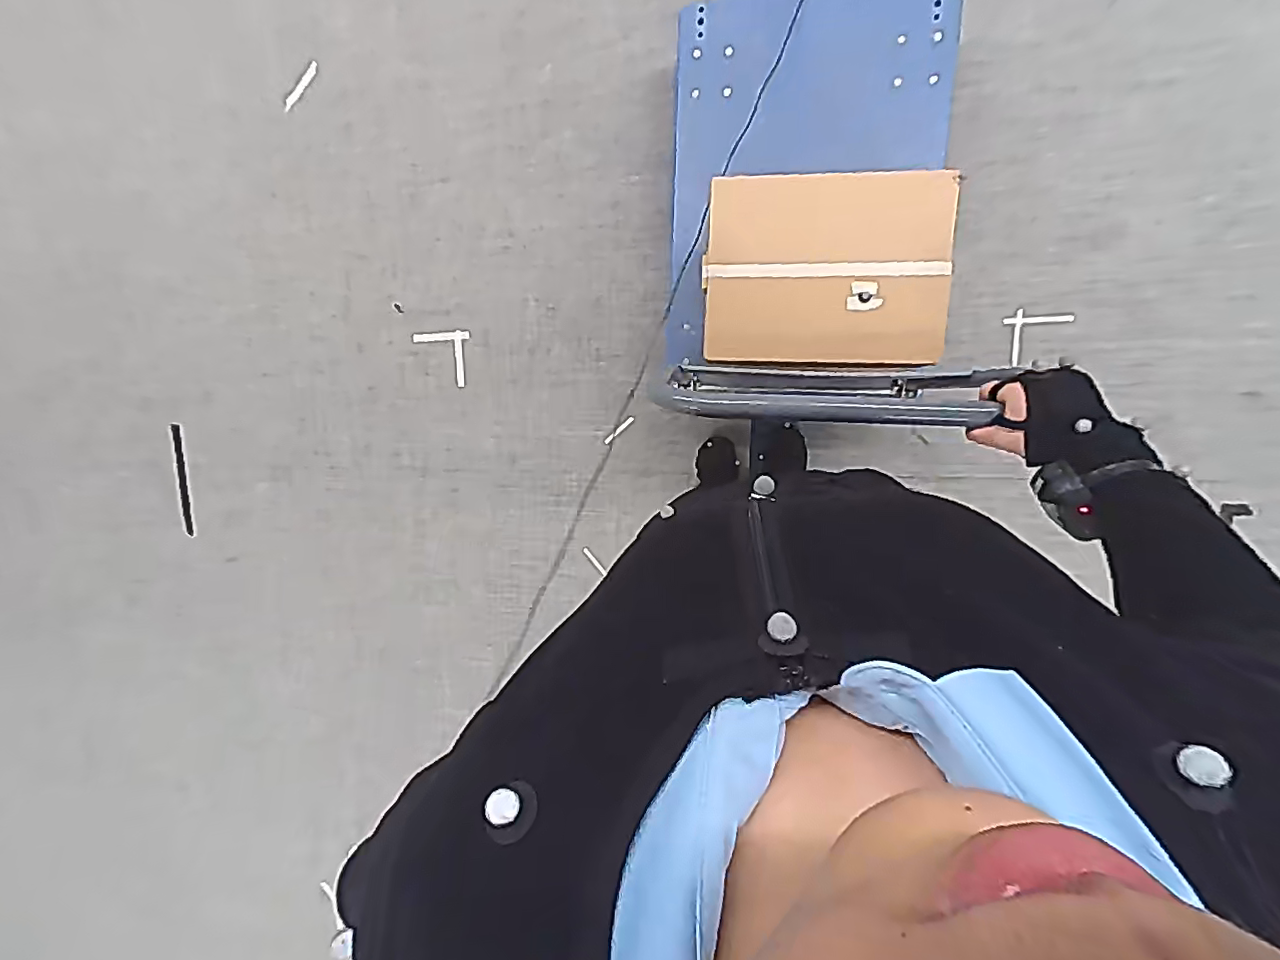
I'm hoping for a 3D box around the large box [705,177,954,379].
[{"bbox_3d":[0.333,-0.366,1.071,0.408,0.320,0.320,2,99,8],"label":"large box"}]
